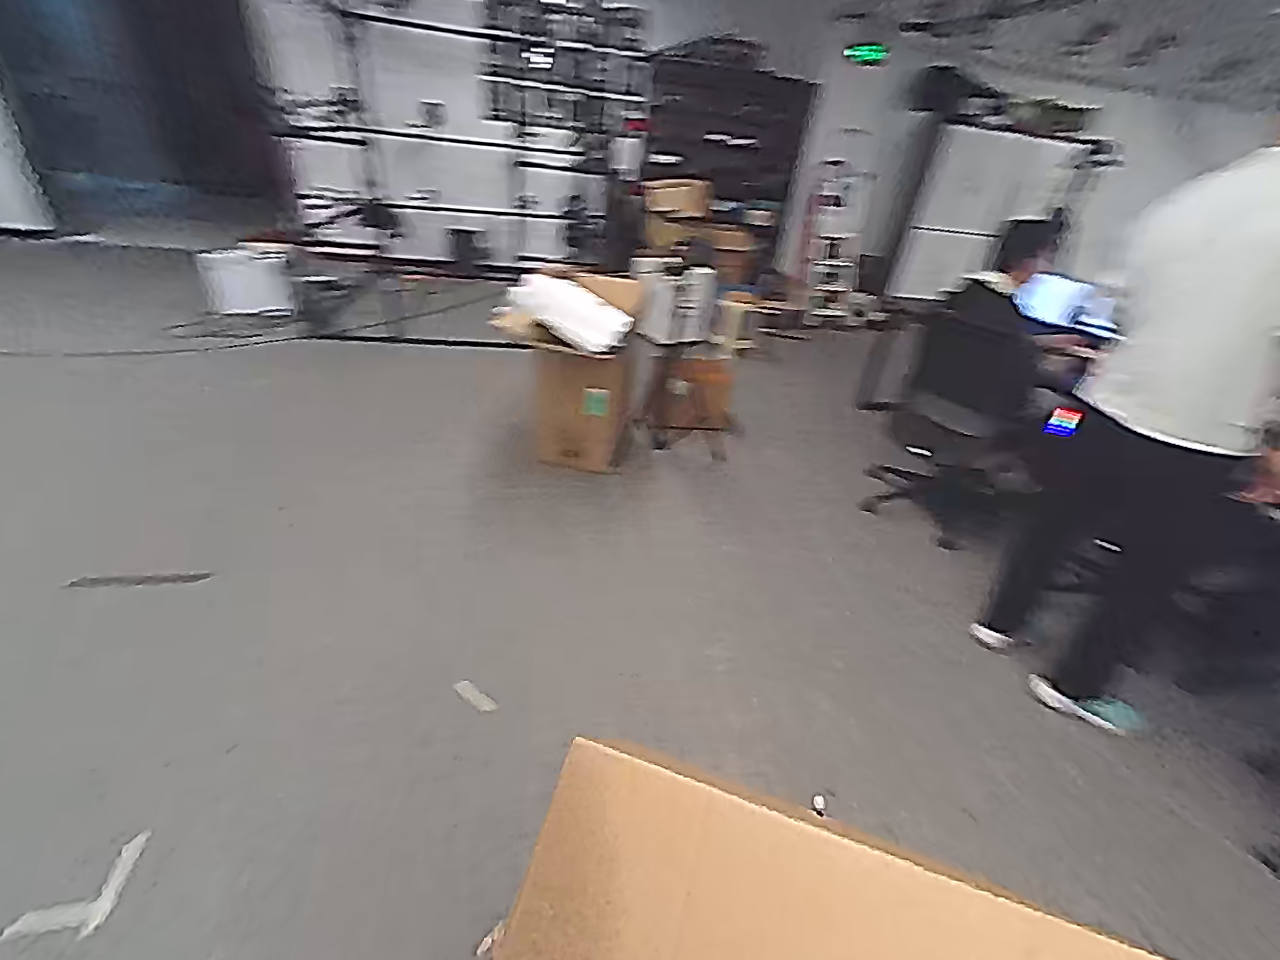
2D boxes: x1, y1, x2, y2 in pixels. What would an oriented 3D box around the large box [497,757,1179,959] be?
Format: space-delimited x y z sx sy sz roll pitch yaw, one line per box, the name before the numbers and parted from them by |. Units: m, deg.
large box | 0.100 0.439 0.426 0.408 0.320 0.320 13 67 10
